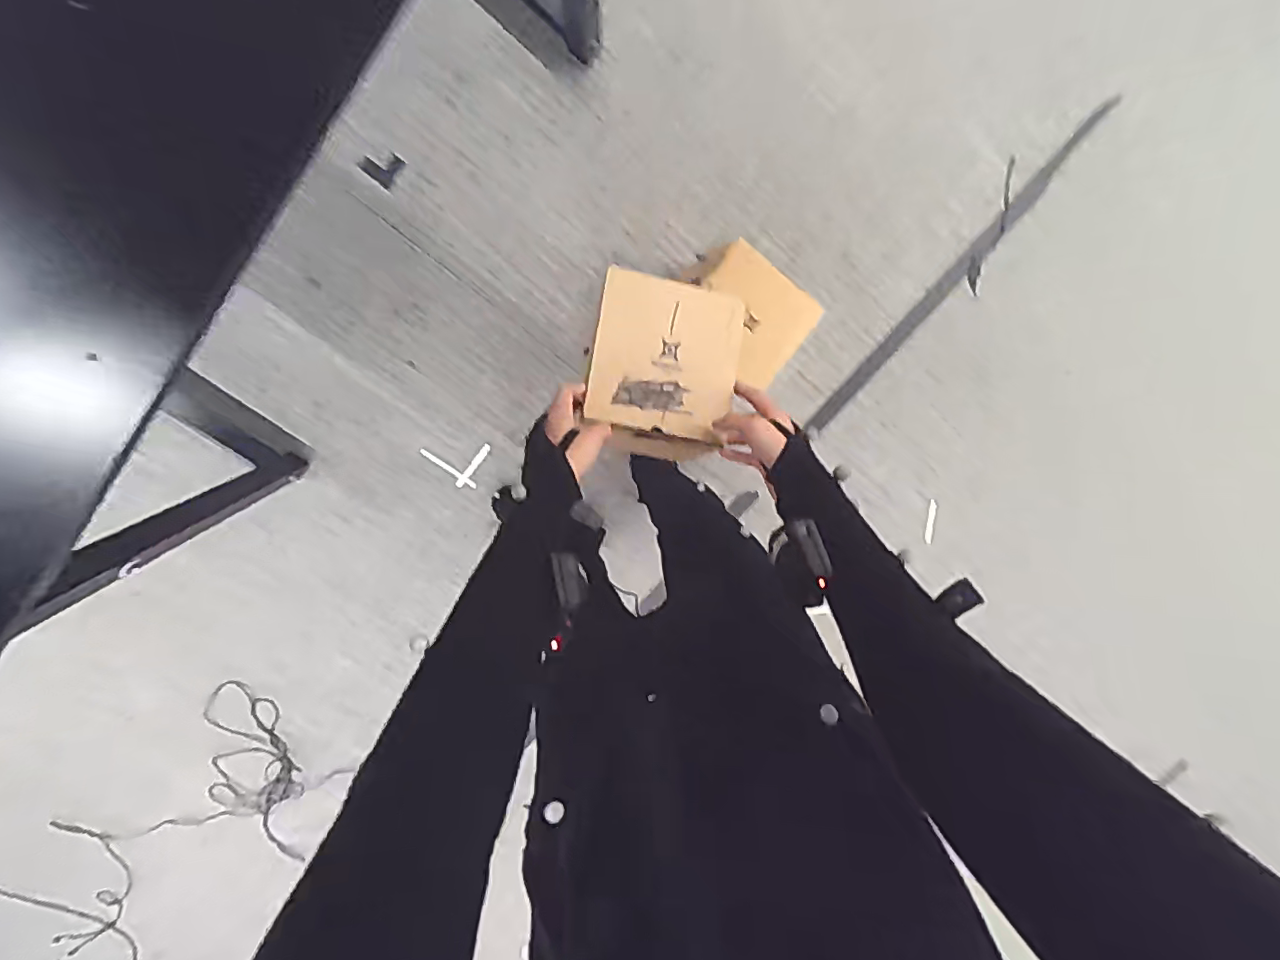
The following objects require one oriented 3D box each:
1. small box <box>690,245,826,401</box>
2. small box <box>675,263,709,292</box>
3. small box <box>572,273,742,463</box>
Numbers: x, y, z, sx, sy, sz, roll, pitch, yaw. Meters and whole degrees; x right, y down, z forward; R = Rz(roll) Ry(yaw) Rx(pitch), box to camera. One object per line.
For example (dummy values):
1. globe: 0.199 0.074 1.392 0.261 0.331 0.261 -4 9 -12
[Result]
1. small box: 0.163 -0.258 0.891 0.179 0.176 0.168 34 102 -13
2. small box: 0.134 -0.353 1.203 0.168 0.176 0.179 35 102 -13
3. small box: 0.011 -0.123 0.672 0.168 0.176 0.179 9 84 -11
